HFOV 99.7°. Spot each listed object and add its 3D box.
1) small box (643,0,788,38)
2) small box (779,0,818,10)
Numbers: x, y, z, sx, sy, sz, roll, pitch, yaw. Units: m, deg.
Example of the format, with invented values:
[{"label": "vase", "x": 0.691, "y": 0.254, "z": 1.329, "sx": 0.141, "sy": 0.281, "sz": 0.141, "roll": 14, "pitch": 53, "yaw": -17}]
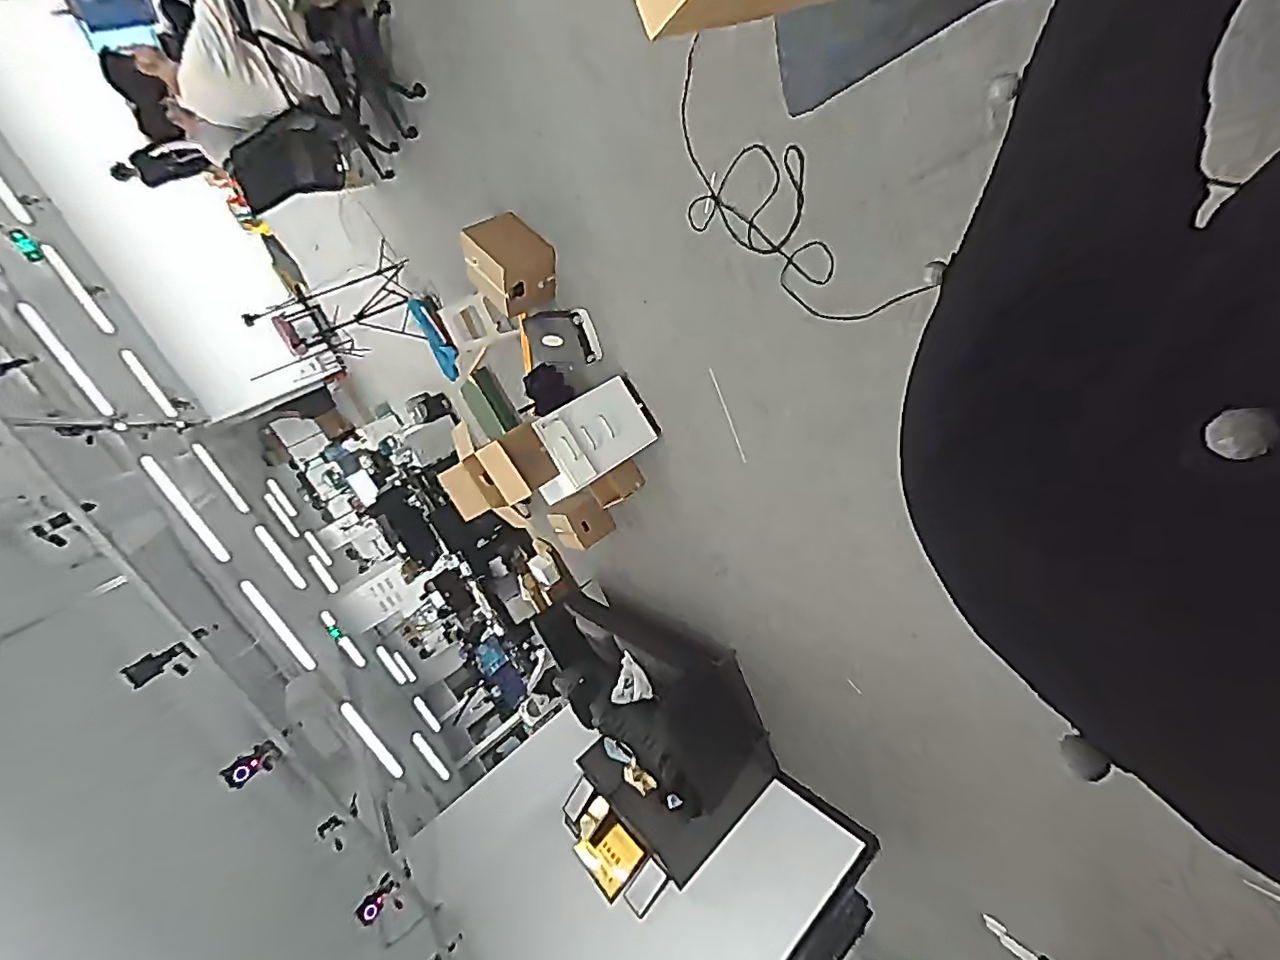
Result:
[{"label": "small box", "x": 0.090, "y": -0.510, "z": 0.438, "sx": 0.179, "sy": 0.176, "sz": 0.168, "roll": 5, "pitch": 125, "yaw": 58}, {"label": "small box", "x": 0.220, "y": -0.588, "z": 0.496, "sx": 0.179, "sy": 0.176, "sz": 0.168, "roll": 13, "pitch": 132, "yaw": 56}]
